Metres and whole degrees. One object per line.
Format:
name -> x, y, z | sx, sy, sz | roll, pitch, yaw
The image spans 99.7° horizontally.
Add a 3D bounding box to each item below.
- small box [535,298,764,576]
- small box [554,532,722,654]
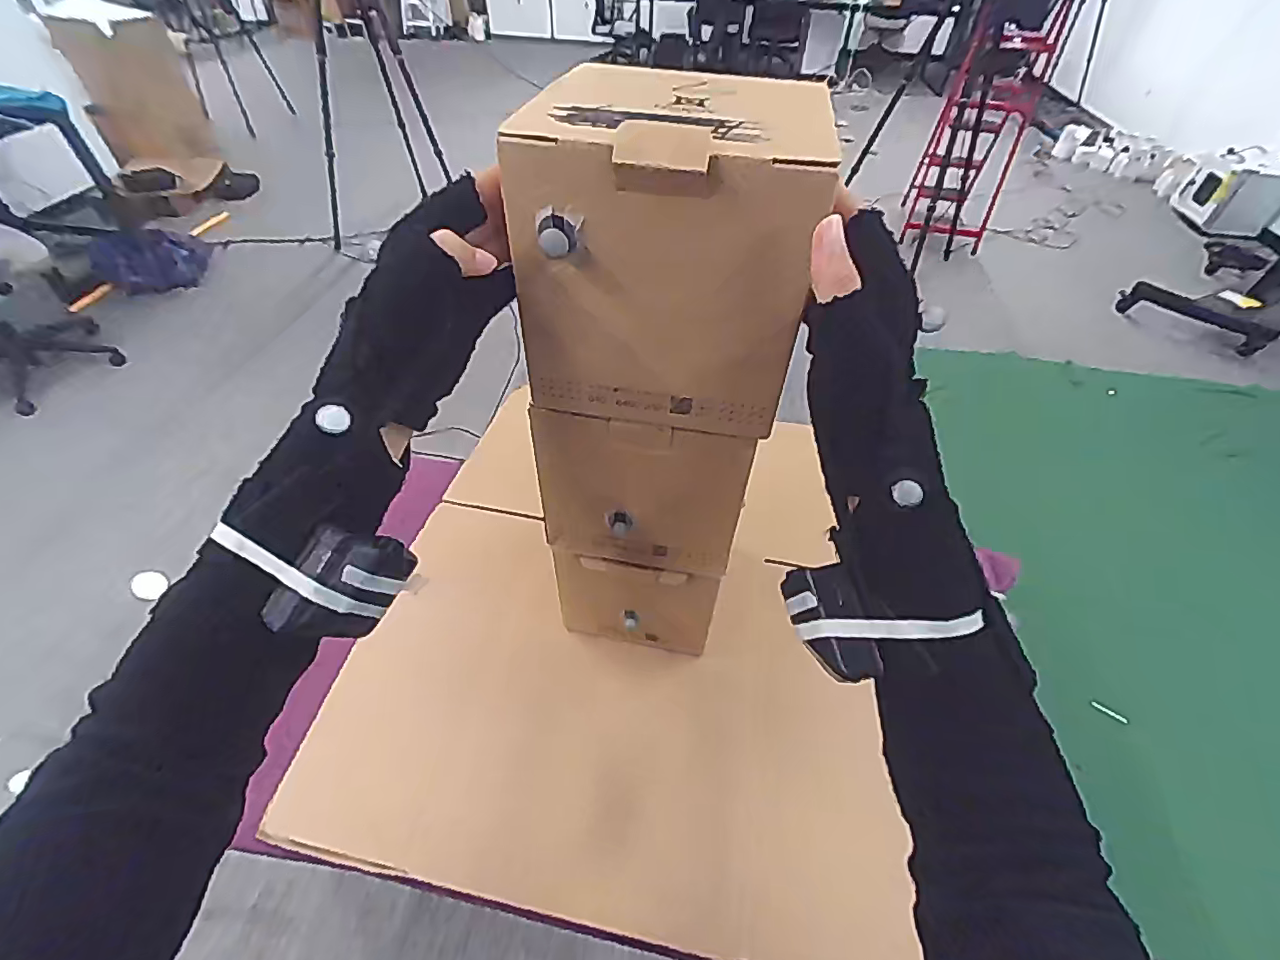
small box -> 0.014, -0.040, 0.497 | 0.168, 0.176, 0.179 | 9, 47, 6
small box -> 0.011, 0.069, 0.619 | 0.168, 0.176, 0.179 | 10, 47, 8
